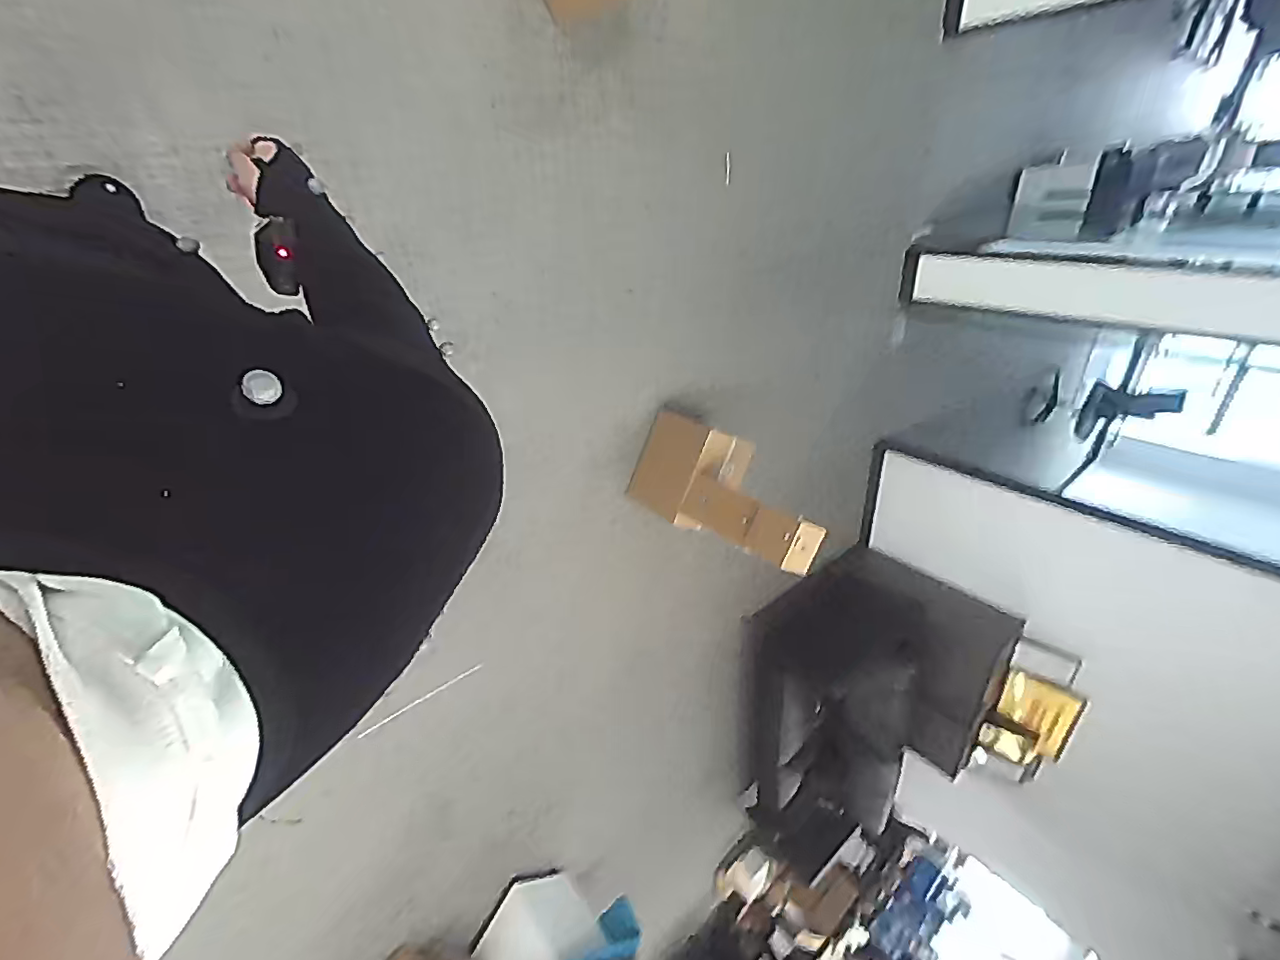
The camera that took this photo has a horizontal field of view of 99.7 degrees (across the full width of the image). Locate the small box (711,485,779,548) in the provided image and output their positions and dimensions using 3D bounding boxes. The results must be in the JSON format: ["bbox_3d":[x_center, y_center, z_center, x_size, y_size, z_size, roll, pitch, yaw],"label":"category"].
[{"bbox_3d":[0.385,0.138,1.963,0.168,0.176,0.179,17,98,-45],"label":"small box"}]

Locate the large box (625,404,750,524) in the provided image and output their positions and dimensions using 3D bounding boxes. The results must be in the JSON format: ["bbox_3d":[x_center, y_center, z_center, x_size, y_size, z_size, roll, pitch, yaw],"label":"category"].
[{"bbox_3d":[0.194,-0.062,2.277,0.320,0.320,0.408,11,102,-46],"label":"large box"}]

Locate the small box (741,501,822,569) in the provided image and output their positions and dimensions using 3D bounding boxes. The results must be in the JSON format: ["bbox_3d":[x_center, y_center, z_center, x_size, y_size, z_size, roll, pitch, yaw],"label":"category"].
[{"bbox_3d":[0.479,0.185,1.837,0.179,0.176,0.168,19,96,-46],"label":"small box"}]
